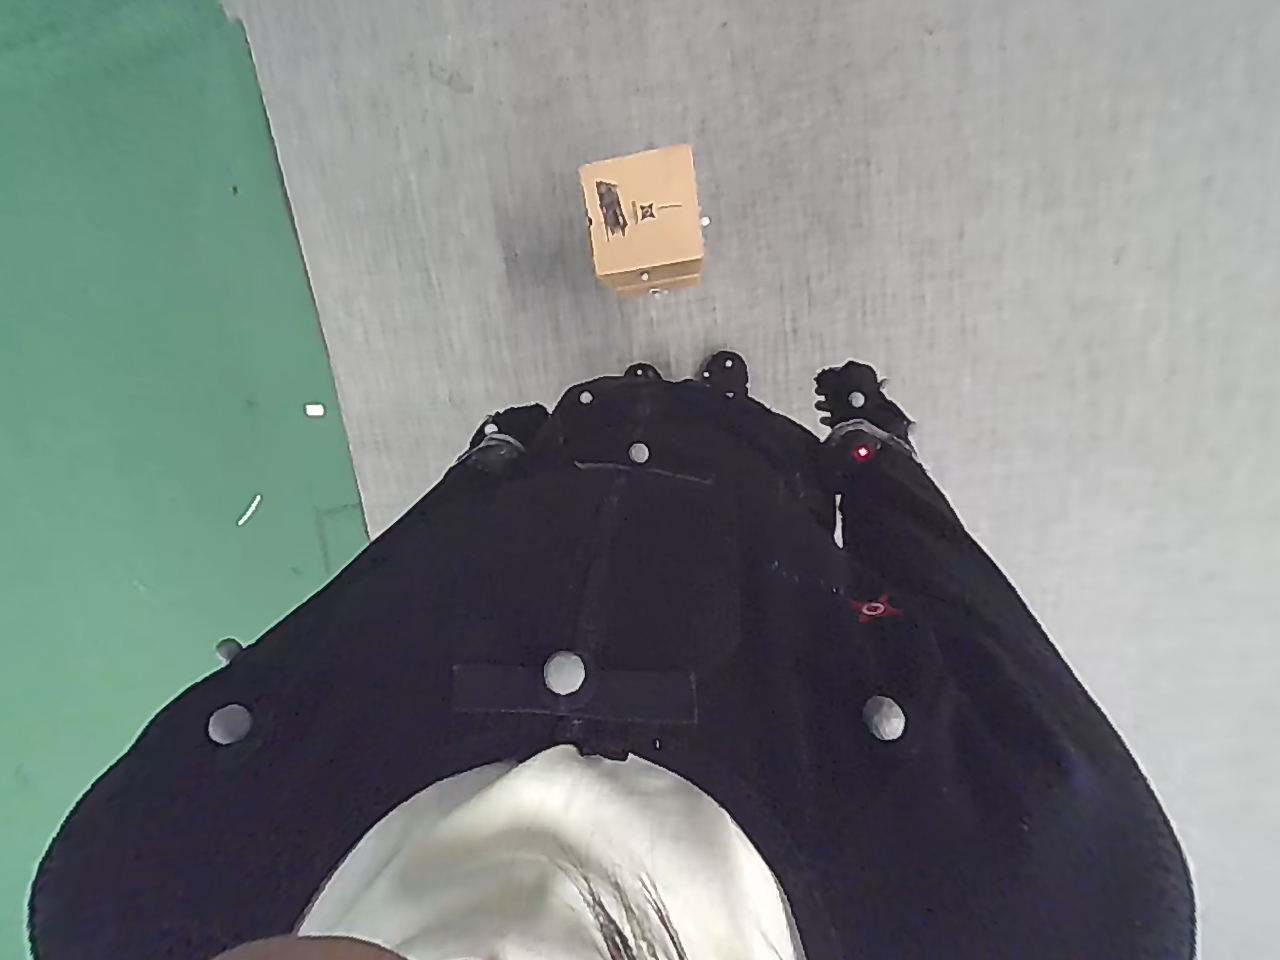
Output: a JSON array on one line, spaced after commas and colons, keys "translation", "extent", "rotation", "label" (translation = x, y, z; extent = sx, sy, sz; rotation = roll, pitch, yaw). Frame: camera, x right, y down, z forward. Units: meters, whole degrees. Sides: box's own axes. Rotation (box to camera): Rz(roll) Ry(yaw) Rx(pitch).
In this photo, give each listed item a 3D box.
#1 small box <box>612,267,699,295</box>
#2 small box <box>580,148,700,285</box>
[{"translation": [0.024, -0.474, 1.072], "extent": [0.168, 0.176, 0.179], "rotation": [-7, 104, 8], "label": "small box"}, {"translation": [0.009, -0.438, 0.930], "extent": [0.179, 0.176, 0.168], "rotation": [-7, 103, 8], "label": "small box"}]
